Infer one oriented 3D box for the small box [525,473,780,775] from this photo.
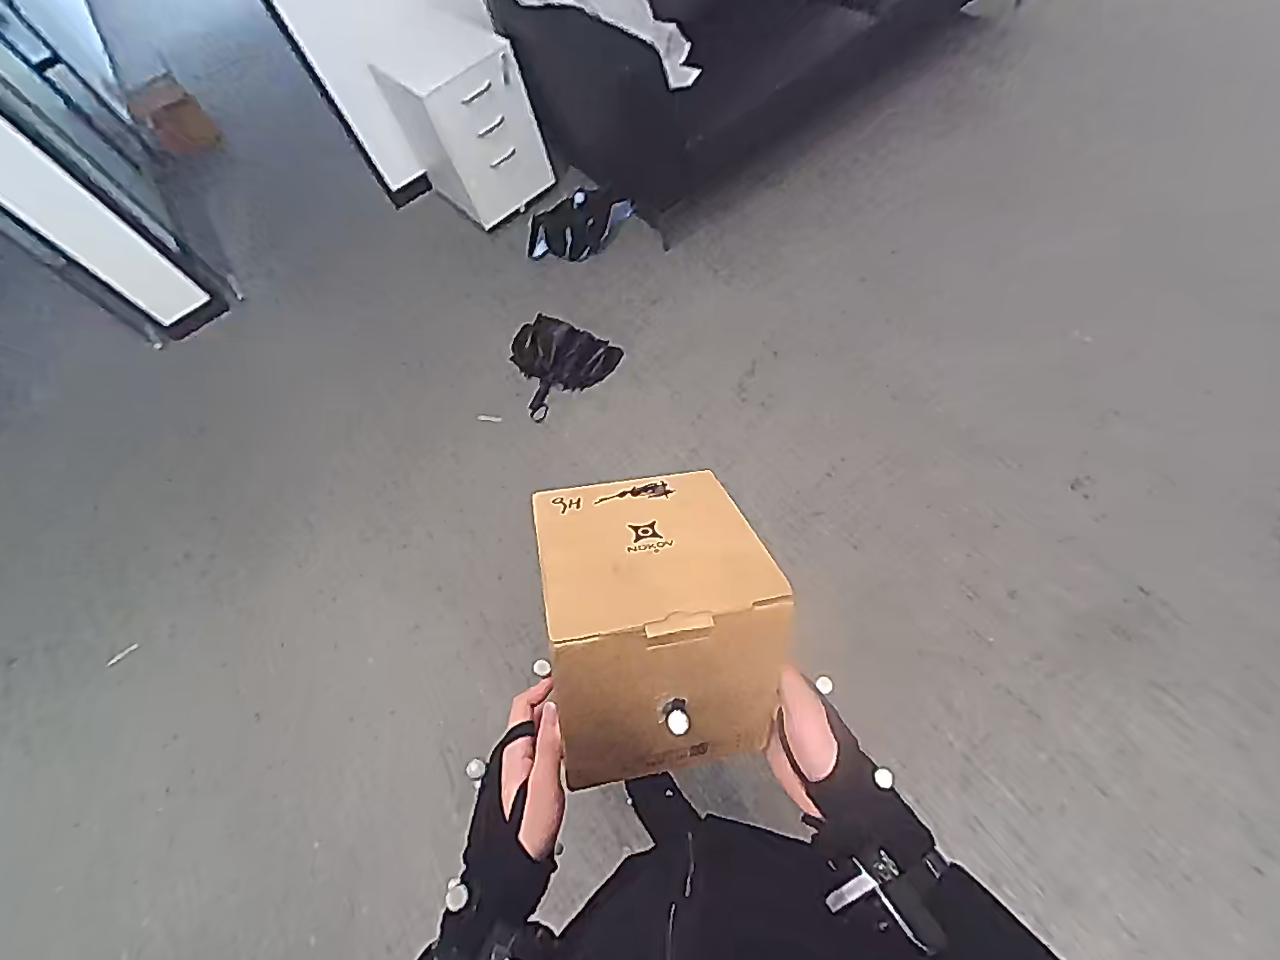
[{"bbox_3d":[-0.001,0.117,0.450,0.168,0.176,0.179,-7,33,-10],"label":"small box"}]
